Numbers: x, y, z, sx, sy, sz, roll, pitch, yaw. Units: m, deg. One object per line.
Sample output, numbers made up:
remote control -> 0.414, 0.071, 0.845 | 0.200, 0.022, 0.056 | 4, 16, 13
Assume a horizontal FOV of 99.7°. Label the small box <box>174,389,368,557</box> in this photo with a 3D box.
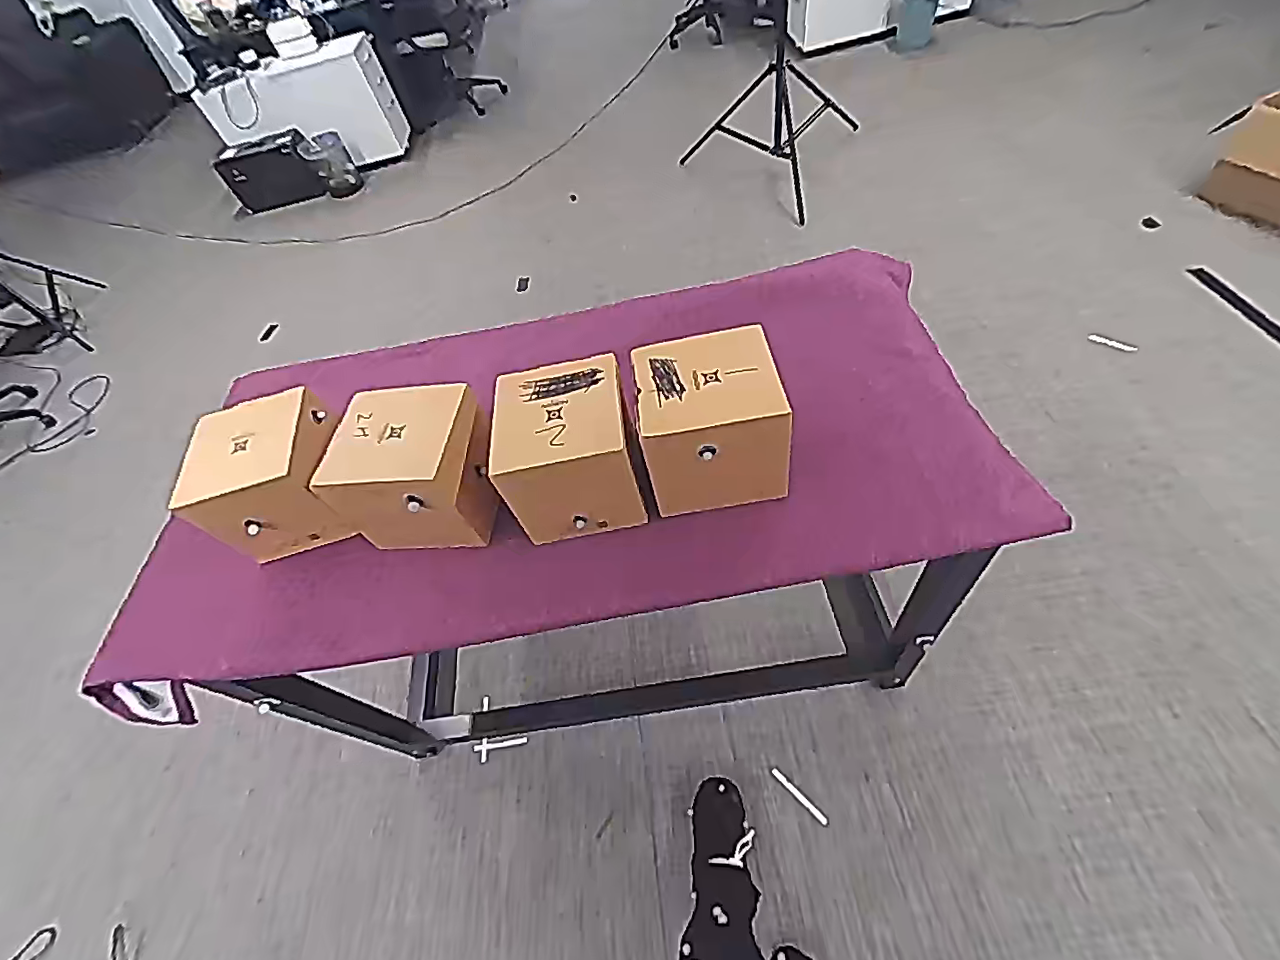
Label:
small box -> -0.539, -0.001, 0.821 | 0.168, 0.176, 0.179 | -18, 53, 0
